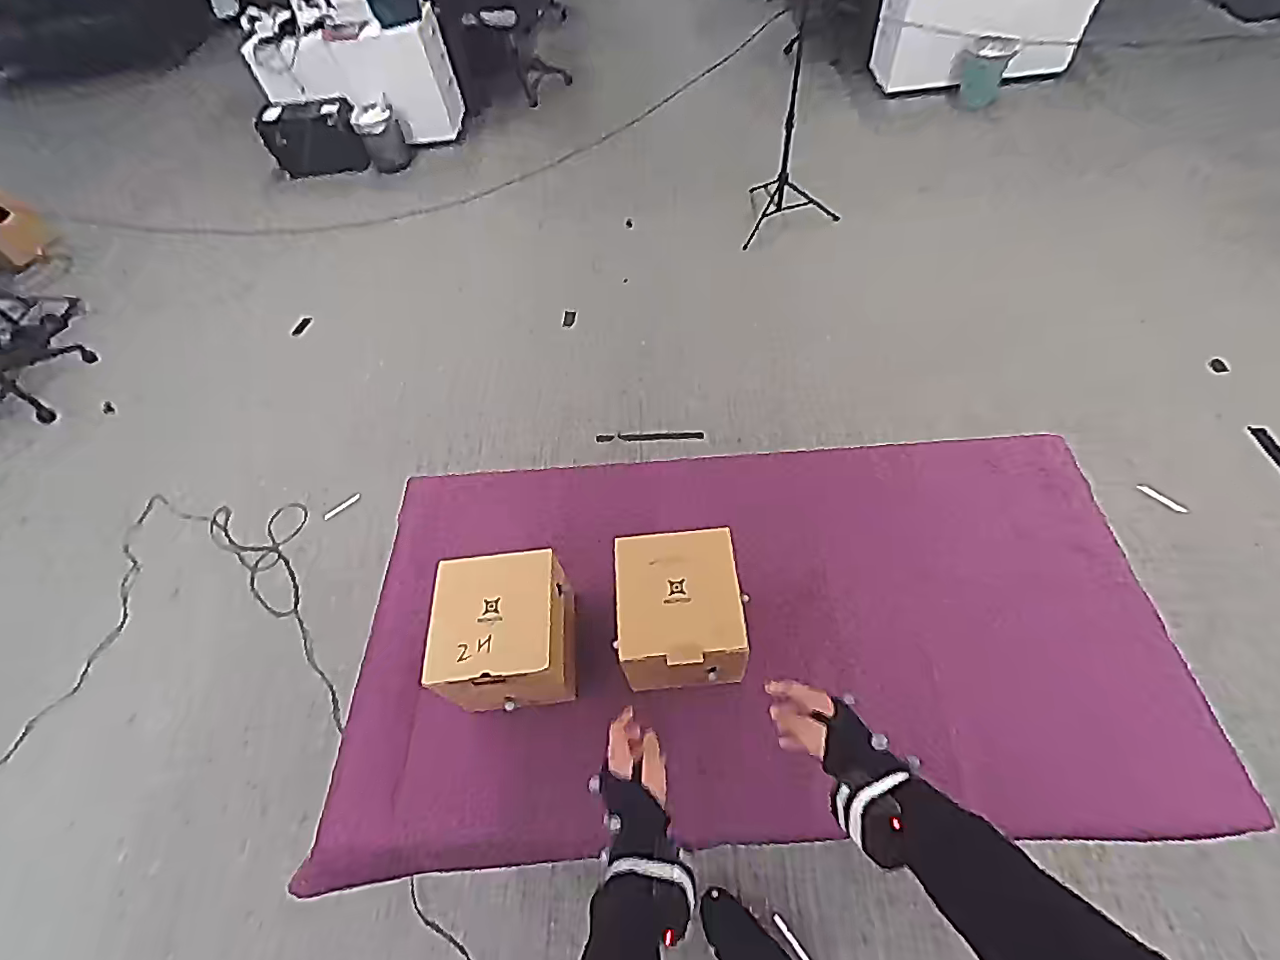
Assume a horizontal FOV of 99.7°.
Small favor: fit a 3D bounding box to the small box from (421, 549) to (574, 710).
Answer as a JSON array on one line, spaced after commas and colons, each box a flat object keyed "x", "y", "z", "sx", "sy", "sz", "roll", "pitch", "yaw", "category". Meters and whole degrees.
[{"x": -0.196, "y": 0.223, "z": 0.794, "sx": 0.168, "sy": 0.176, "sz": 0.179, "roll": -7, "pitch": 56, "yaw": 3, "category": "small box"}]

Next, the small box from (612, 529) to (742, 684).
[{"x": 0.053, "y": 0.191, "z": 0.789, "sx": 0.168, "sy": 0.176, "sz": 0.179, "roll": -5, "pitch": 56, "yaw": 2, "category": "small box"}]
